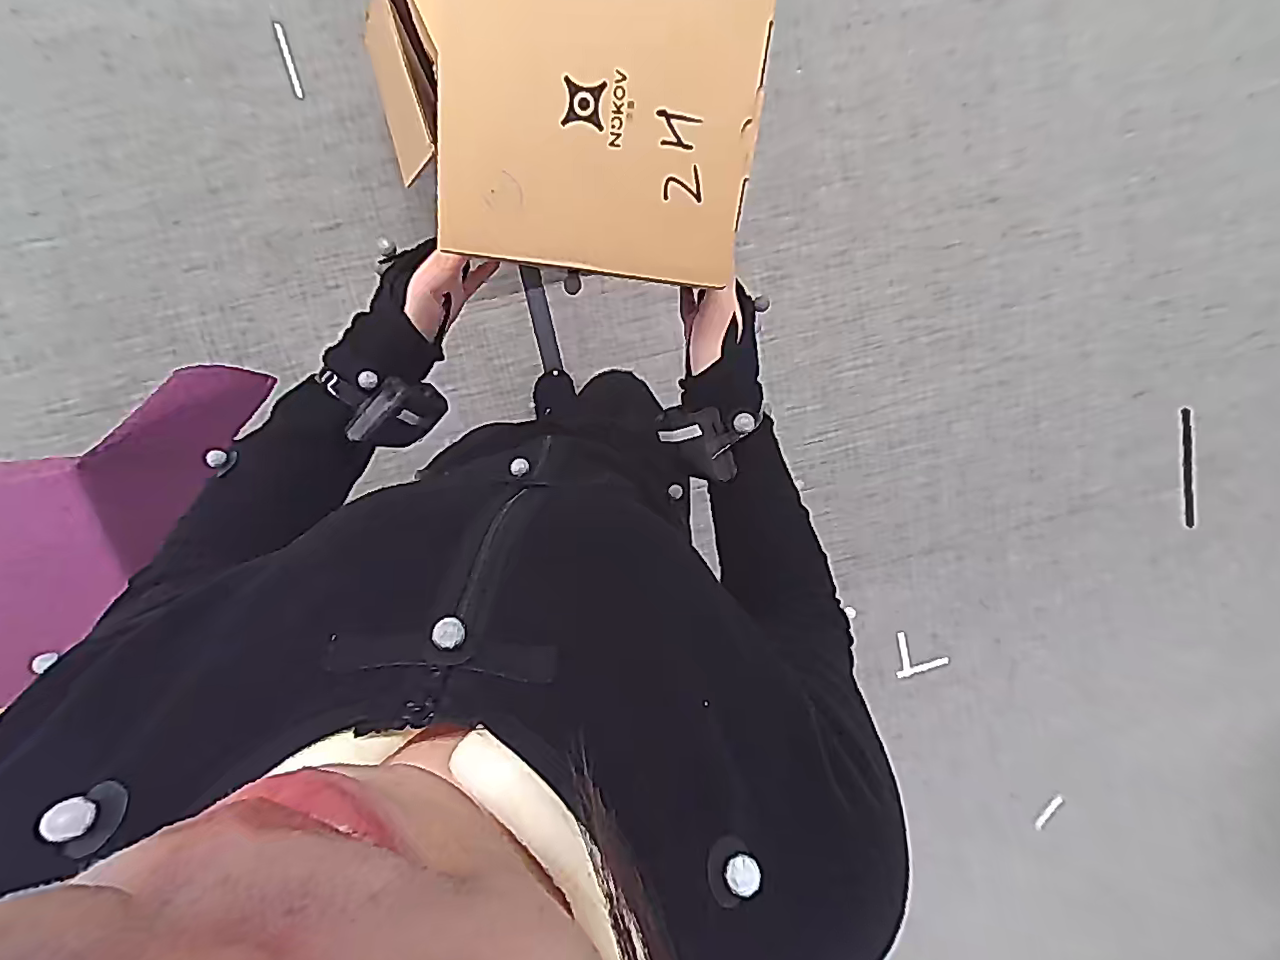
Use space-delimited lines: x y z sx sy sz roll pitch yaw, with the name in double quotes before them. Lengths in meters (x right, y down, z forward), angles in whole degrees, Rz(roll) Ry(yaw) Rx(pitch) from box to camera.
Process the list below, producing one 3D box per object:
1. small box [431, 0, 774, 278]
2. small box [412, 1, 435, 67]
"small box" -0.025 -0.234 0.366 0.179 0.176 0.168 7 111 -4
"small box" -0.295 -0.804 1.035 0.179 0.176 0.168 -35 105 -2
